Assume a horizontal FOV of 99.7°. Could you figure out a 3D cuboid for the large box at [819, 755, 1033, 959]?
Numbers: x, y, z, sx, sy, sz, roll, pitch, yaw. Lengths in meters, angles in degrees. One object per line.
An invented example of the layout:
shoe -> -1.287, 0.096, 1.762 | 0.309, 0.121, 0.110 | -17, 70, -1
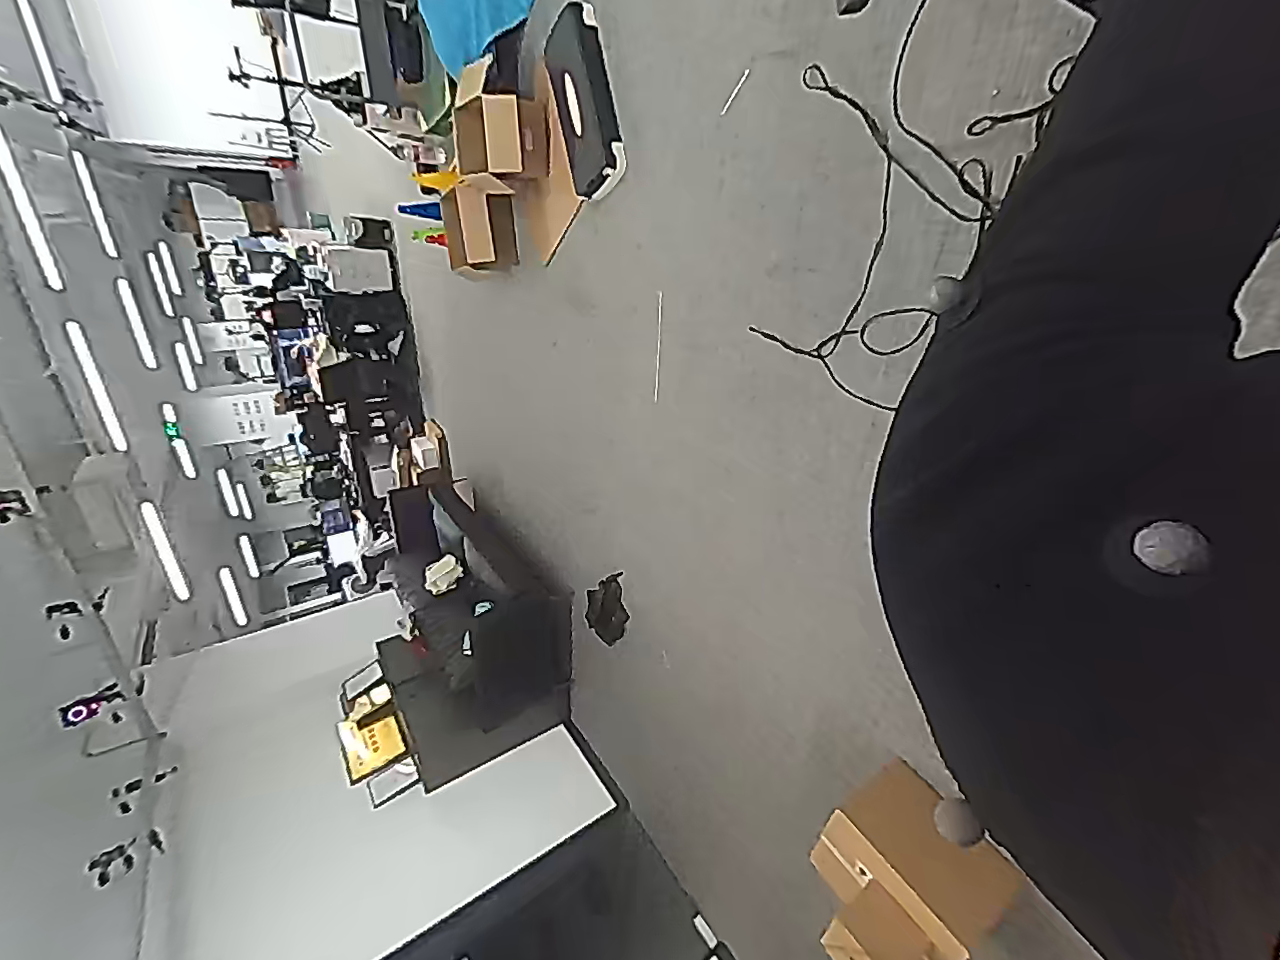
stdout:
large box -> 0.812, 1.117, 1.578 | 0.408, 0.320, 0.320 | 43, 136, 43
